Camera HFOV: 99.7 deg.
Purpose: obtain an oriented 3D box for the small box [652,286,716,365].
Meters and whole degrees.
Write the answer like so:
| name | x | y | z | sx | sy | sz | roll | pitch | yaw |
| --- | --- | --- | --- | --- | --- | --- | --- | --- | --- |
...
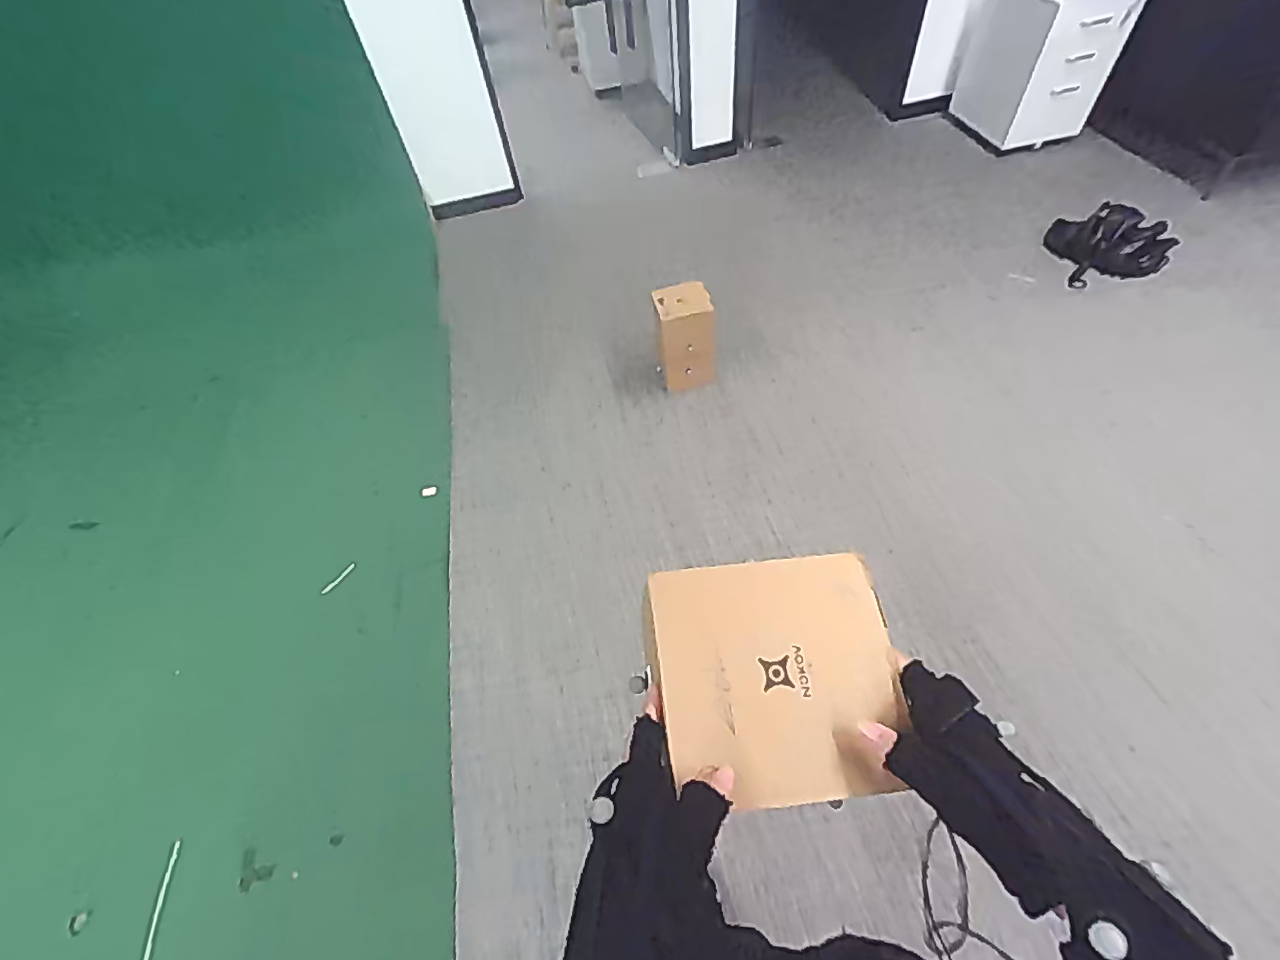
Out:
| name | x | y | z | sx | sy | sz | roll | pitch | yaw |
| --- | --- | --- | --- | --- | --- | --- | --- | --- | --- |
| small box | 0.149 | -0.516 | 1.819 | 0.179 | 0.176 | 0.168 | -16 | 55 | -3 |

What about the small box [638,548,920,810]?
| name | x | y | z | sx | sy | sz | roll | pitch | yaw |
| --- | --- | --- | --- | --- | --- | --- | --- | --- | --- |
| small box | 0.094 | 0.168 | 0.465 | 0.179 | 0.176 | 0.168 | -6 | 65 | -4 |

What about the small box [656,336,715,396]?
| name | x | y | z | sx | sy | sz | roll | pitch | yaw |
| --- | --- | --- | --- | --- | --- | --- | --- | --- | --- |
| small box | 0.165 | -0.431 | 1.955 | 0.179 | 0.176 | 0.168 | -15 | 53 | -1 |
